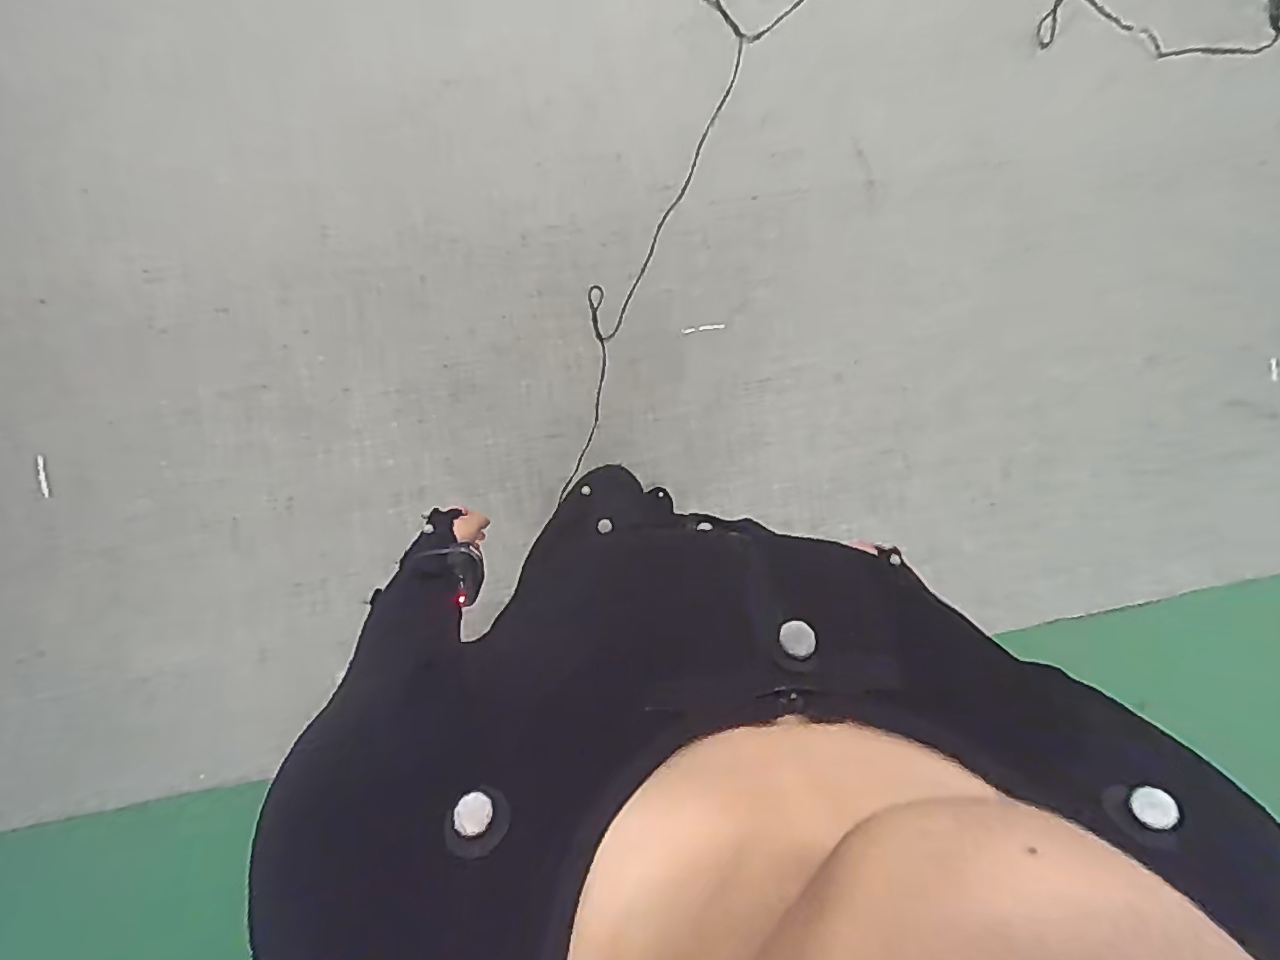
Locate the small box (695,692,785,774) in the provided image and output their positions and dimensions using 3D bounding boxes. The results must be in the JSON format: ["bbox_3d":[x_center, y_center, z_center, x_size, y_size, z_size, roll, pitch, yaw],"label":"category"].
[{"bbox_3d":[0.223,0.584,1.190,0.168,0.176,0.179,-9,90,-3],"label":"small box"}]
